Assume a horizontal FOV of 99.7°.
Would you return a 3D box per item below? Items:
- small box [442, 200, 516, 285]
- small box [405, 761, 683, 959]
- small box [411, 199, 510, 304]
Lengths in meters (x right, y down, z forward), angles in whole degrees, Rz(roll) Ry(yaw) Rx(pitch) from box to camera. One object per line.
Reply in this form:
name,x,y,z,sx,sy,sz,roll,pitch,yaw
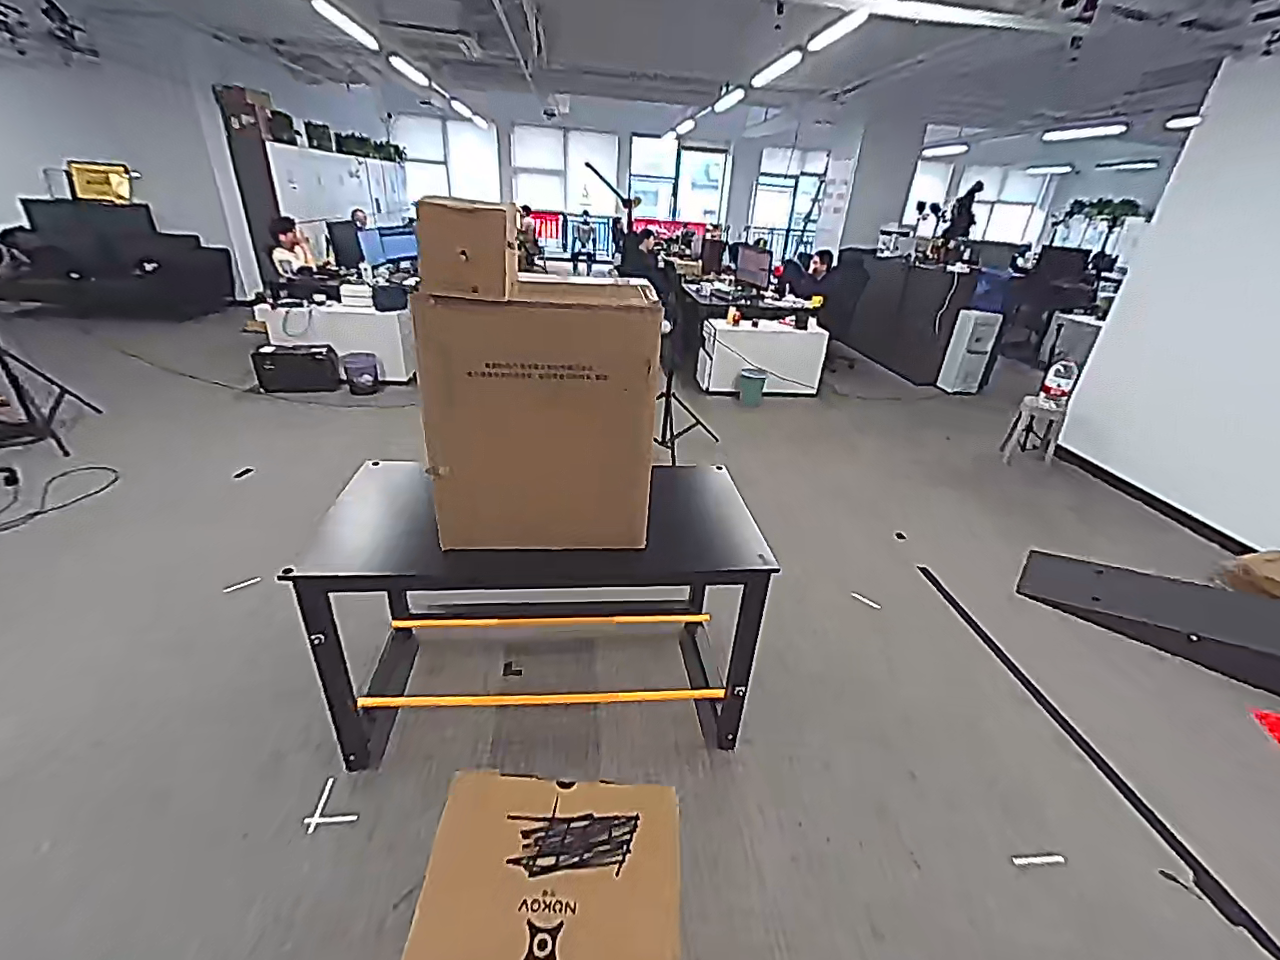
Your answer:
small box,-0.382,-0.553,1.265,0.168,0.176,0.179,-1,27,-8
small box,-0.061,0.333,0.387,0.168,0.176,0.179,4,39,-1
small box,-0.354,-0.463,1.097,0.168,0.176,0.179,1,30,-11
